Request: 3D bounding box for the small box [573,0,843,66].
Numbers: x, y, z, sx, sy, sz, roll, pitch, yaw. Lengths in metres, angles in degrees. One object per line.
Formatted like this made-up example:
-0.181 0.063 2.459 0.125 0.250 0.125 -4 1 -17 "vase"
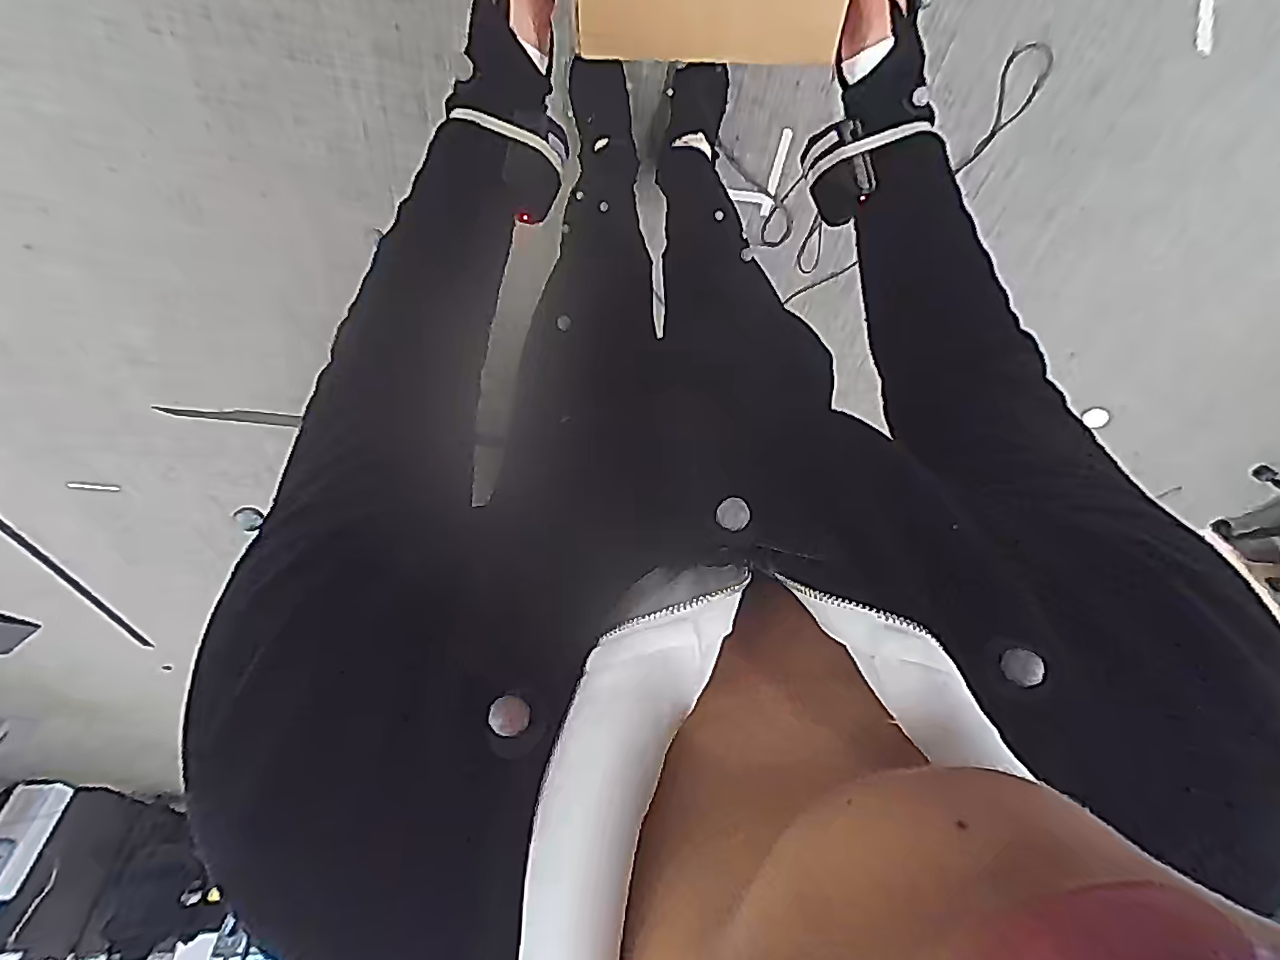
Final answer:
0.043 -0.401 0.358 0.179 0.176 0.168 -1 142 -4 "small box"
